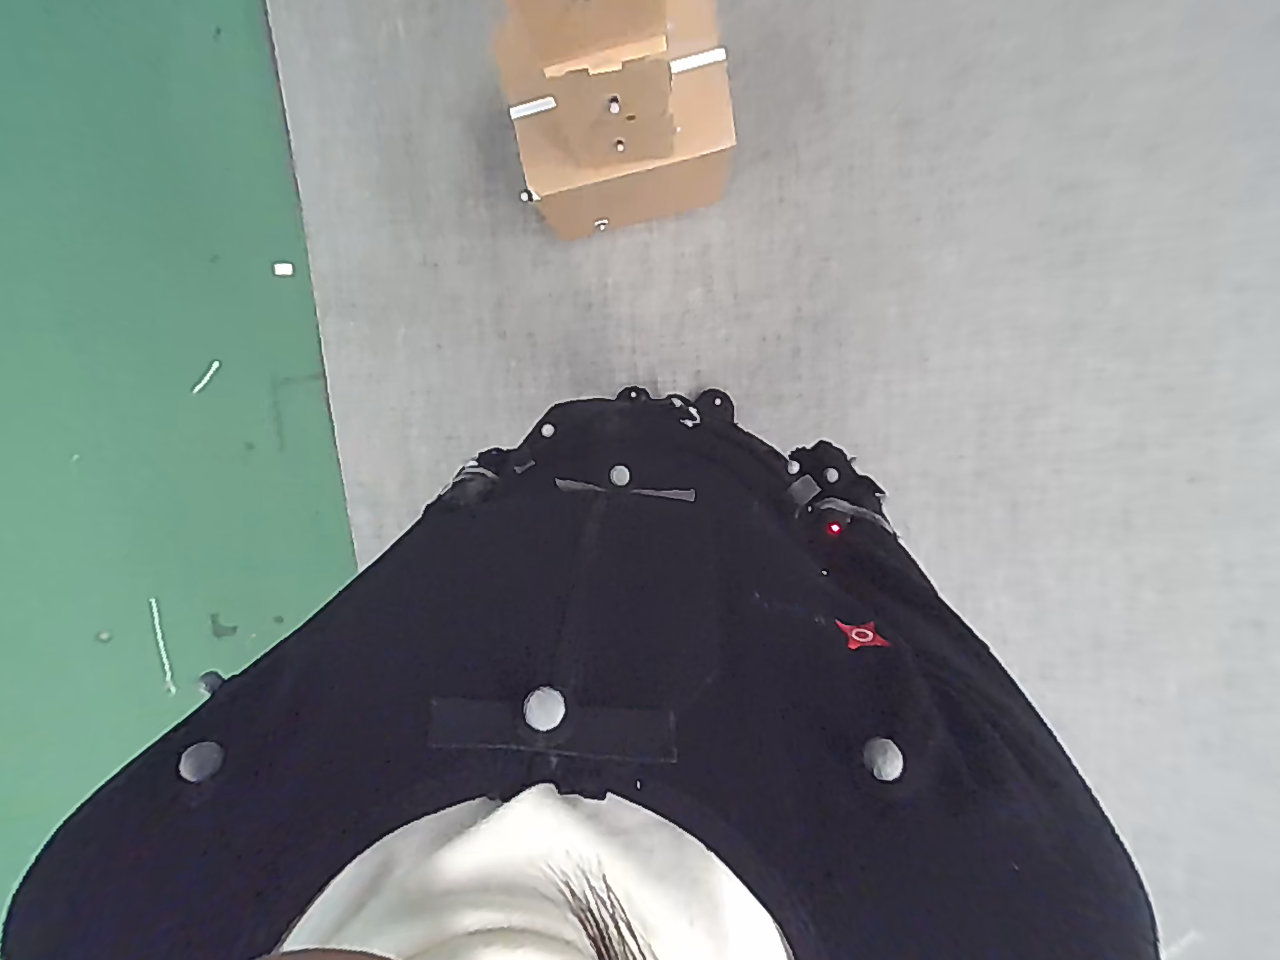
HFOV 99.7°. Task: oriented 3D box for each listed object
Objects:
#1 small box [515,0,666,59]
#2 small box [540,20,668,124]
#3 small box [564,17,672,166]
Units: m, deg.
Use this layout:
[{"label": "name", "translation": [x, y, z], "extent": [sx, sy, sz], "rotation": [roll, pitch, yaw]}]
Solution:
[{"label": "small box", "translation": [-0.071, -0.624, 0.610], "extent": [0.179, 0.176, 0.168], "rotation": [-11, 100, 6]}, {"label": "small box", "translation": [-0.050, -0.640, 0.772], "extent": [0.168, 0.176, 0.179], "rotation": [-5, 100, 6]}, {"label": "small box", "translation": [-0.037, -0.669, 0.931], "extent": [0.179, 0.176, 0.168], "rotation": [-5, 100, 6]}]
